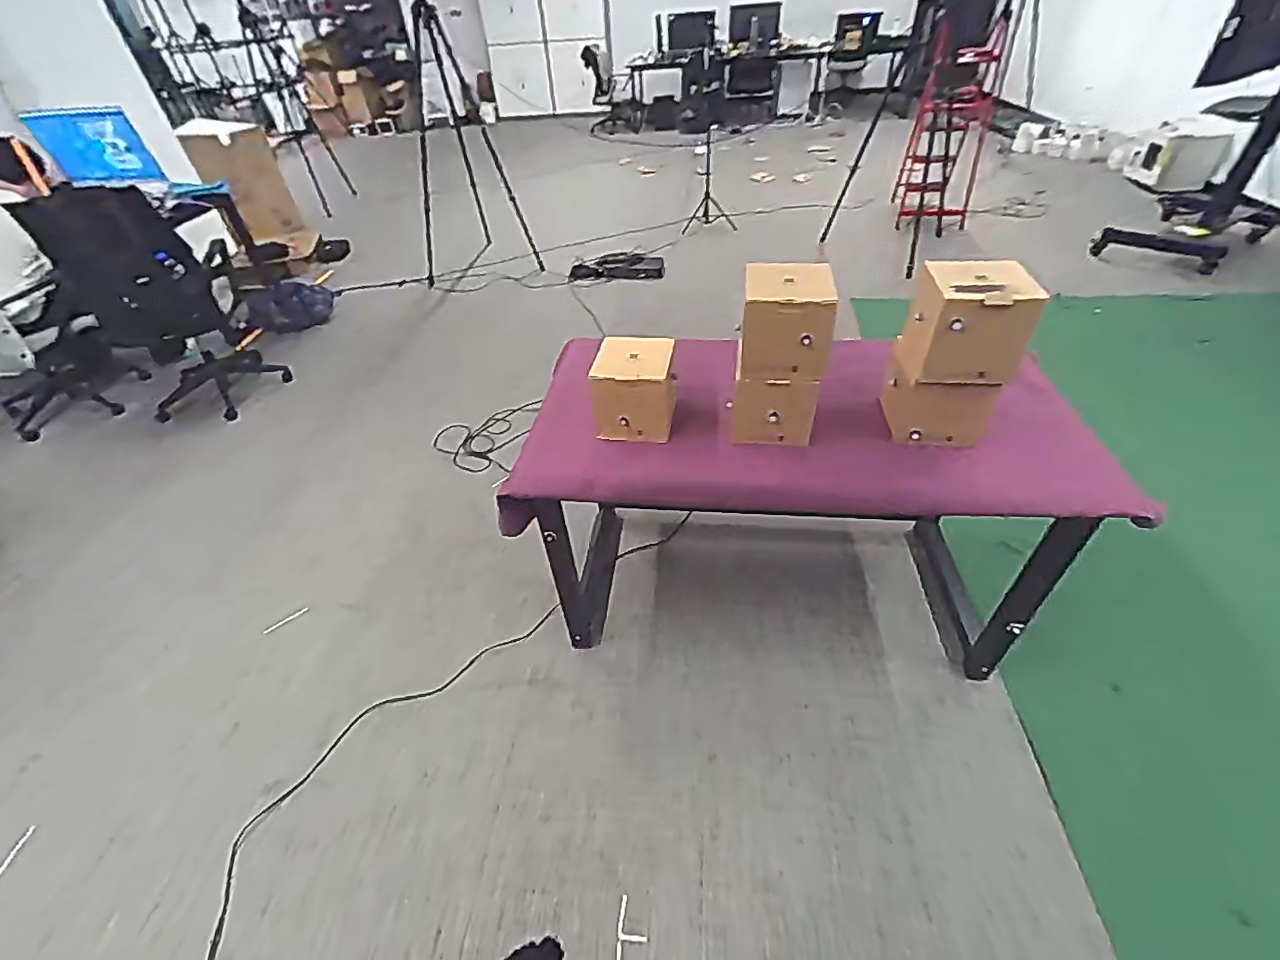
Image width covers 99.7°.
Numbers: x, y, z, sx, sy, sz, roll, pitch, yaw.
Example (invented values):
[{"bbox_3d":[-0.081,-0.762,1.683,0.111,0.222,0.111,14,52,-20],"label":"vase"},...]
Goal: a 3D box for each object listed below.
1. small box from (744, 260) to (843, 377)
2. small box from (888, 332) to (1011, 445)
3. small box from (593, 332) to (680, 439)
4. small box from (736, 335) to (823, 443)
[{"bbox_3d":[0.296,-0.319,1.069,0.168,0.176,0.179,4,43,9],"label":"small box"},{"bbox_3d":[0.639,-0.192,1.139,0.168,0.176,0.179,6,44,9],"label":"small box"},{"bbox_3d":[-0.001,-0.215,1.225,0.168,0.176,0.179,4,44,10],"label":"small box"},{"bbox_3d":[0.299,-0.198,1.179,0.168,0.176,0.179,5,44,10],"label":"small box"}]
